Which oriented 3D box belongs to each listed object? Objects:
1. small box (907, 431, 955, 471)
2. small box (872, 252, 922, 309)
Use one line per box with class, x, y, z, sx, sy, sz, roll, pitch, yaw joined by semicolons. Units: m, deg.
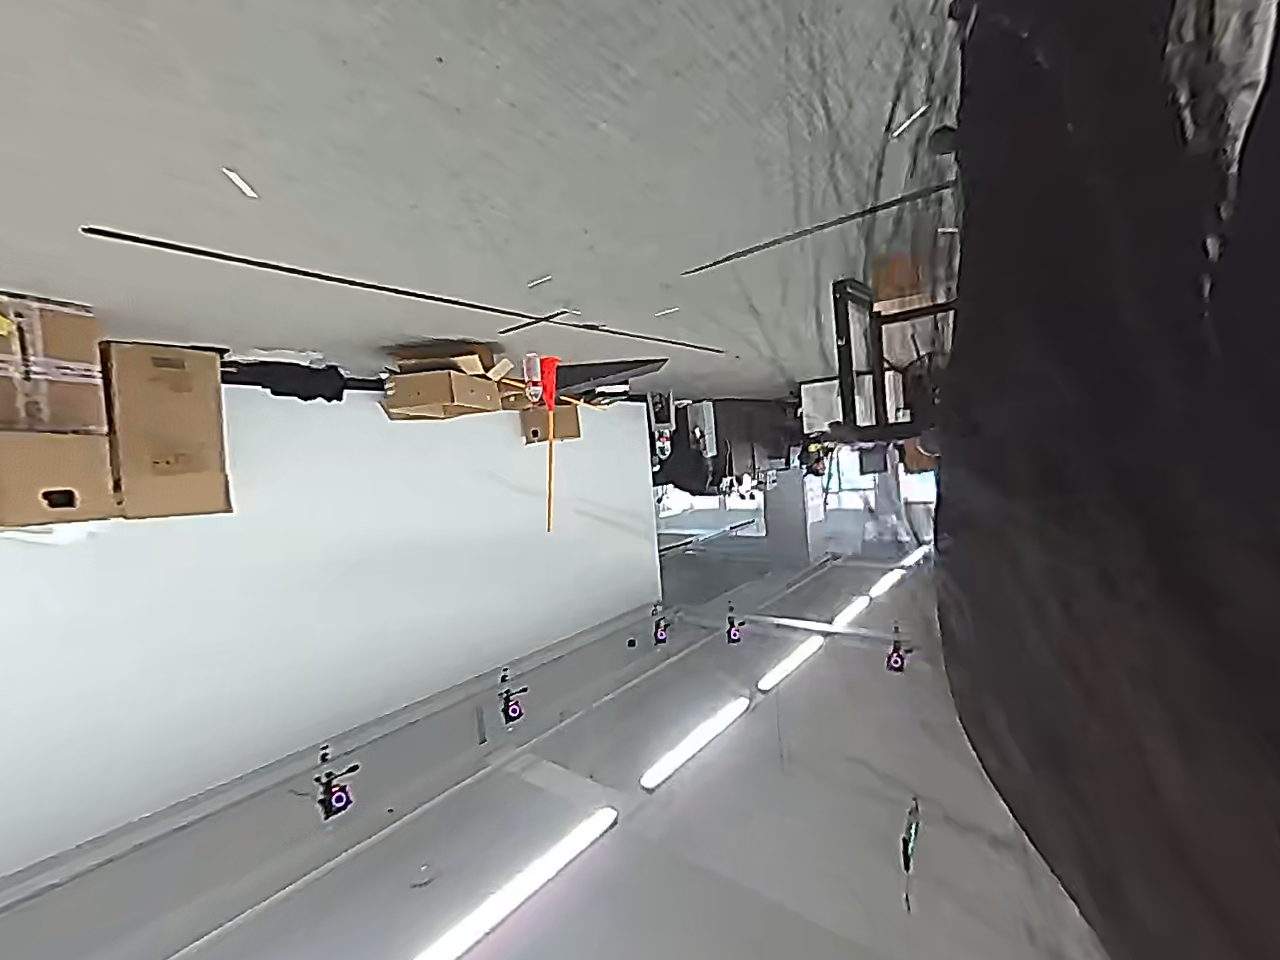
small box;1.331;-0.133;2.474;0.179;0.176;0.168;-3;-176;37
small box;1.078;-0.837;2.275;0.179;0.176;0.168;-5;-178;22
